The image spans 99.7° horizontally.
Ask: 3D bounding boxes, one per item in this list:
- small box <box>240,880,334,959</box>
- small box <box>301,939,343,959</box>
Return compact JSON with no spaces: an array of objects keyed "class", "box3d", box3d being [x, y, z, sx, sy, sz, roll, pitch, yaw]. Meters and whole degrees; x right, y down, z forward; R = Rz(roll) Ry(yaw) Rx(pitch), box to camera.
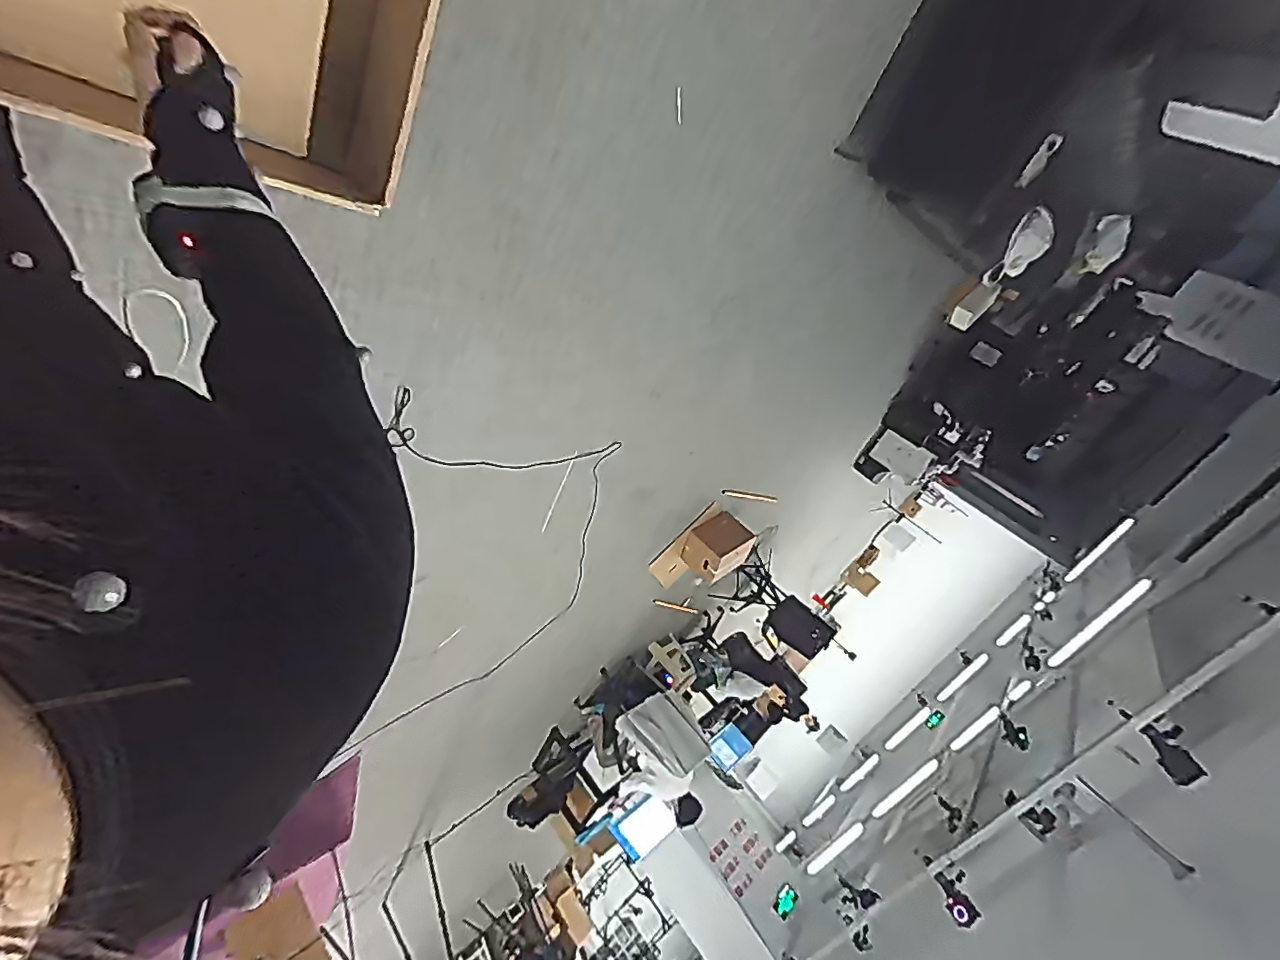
[{"class":"small box","box3d":[-0.966,1.253,1.479,0.179,0.176,0.168,-13,137,-45]},{"class":"small box","box3d":[-0.859,1.354,1.405,0.168,0.176,0.179,-12,136,-44]}]
